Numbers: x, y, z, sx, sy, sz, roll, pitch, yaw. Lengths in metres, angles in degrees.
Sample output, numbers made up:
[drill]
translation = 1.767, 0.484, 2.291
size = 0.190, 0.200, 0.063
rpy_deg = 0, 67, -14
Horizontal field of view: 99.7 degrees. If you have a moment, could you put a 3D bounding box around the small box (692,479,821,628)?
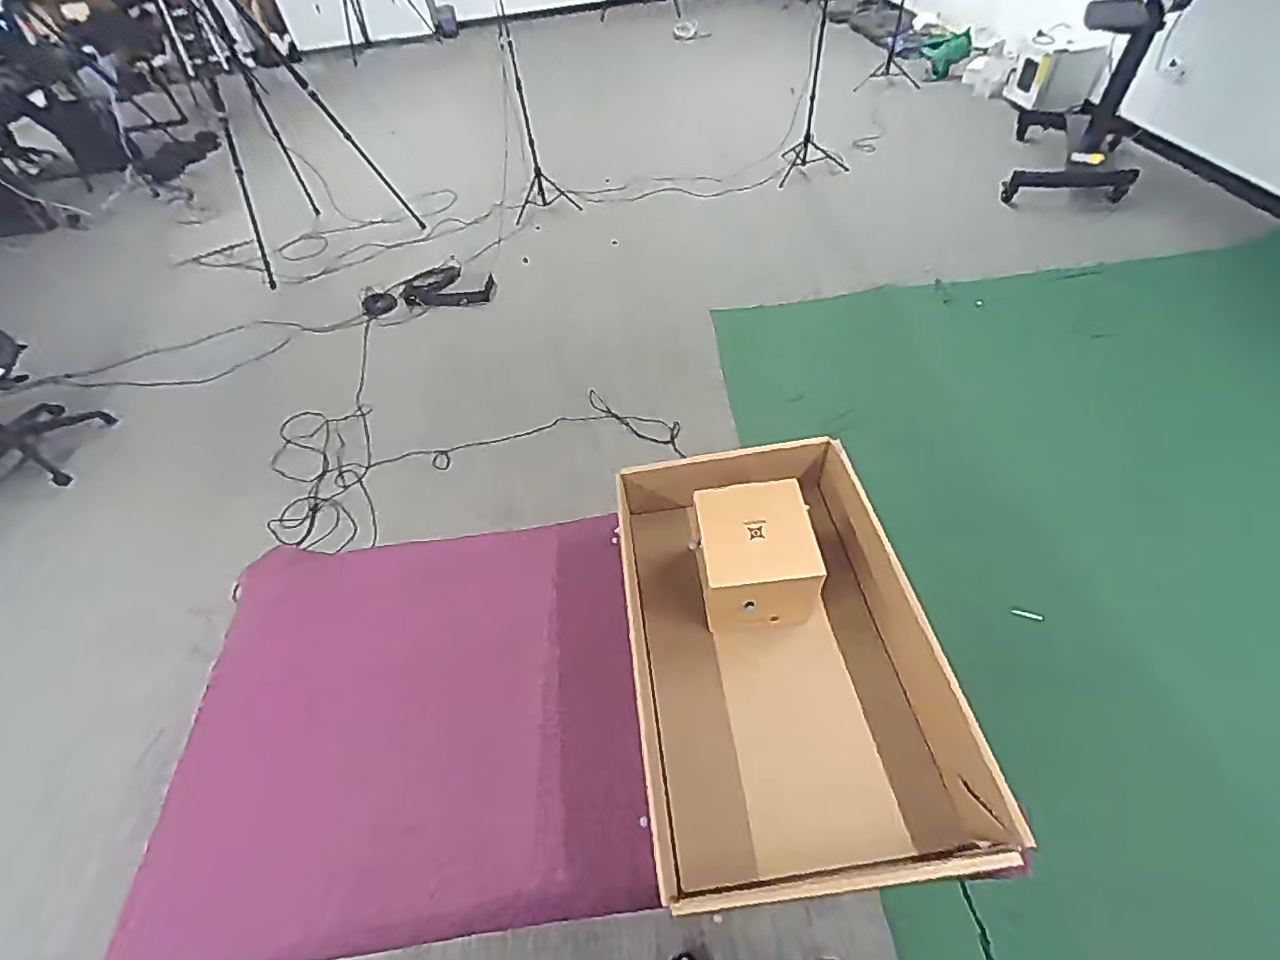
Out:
[small box]
translation = 0.179, 0.125, 0.869
size = 0.168, 0.176, 0.179
rpy_deg = -8, 51, 3
